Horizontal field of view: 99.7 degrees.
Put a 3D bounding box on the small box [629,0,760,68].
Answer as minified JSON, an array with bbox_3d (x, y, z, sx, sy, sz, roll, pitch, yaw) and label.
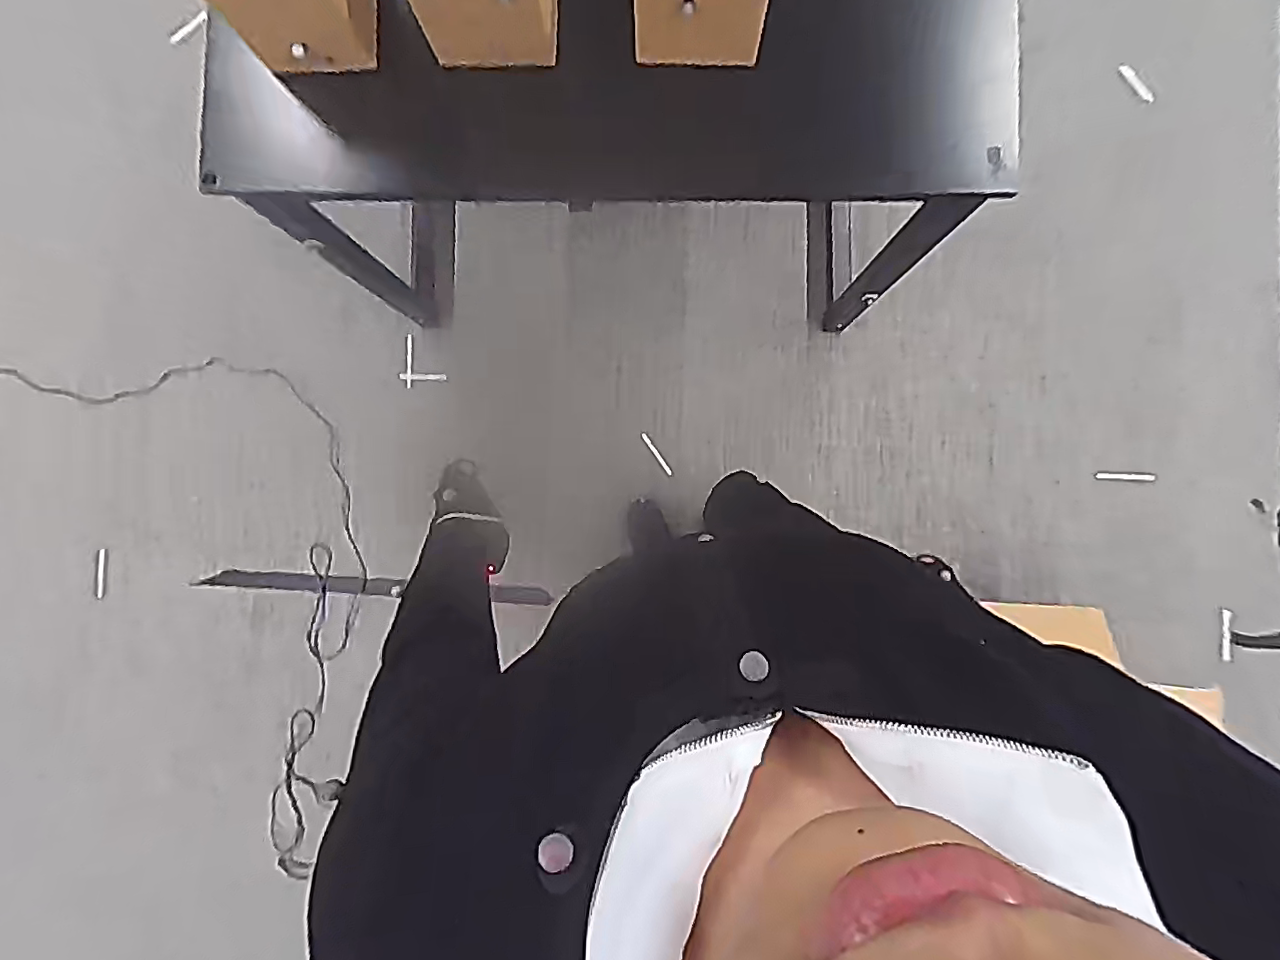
[{"bbox_3d":[0.075,-0.693,0.722,0.179,0.176,0.168,3,89,3],"label":"small box"}]

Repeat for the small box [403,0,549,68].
[{"bbox_3d":[-0.219,-0.697,0.730,0.179,0.176,0.168,0,88,1],"label":"small box"}]

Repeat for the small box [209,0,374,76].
[{"bbox_3d":[-0.485,-0.700,0.738,0.168,0.176,0.179,-1,89,2],"label":"small box"}]
